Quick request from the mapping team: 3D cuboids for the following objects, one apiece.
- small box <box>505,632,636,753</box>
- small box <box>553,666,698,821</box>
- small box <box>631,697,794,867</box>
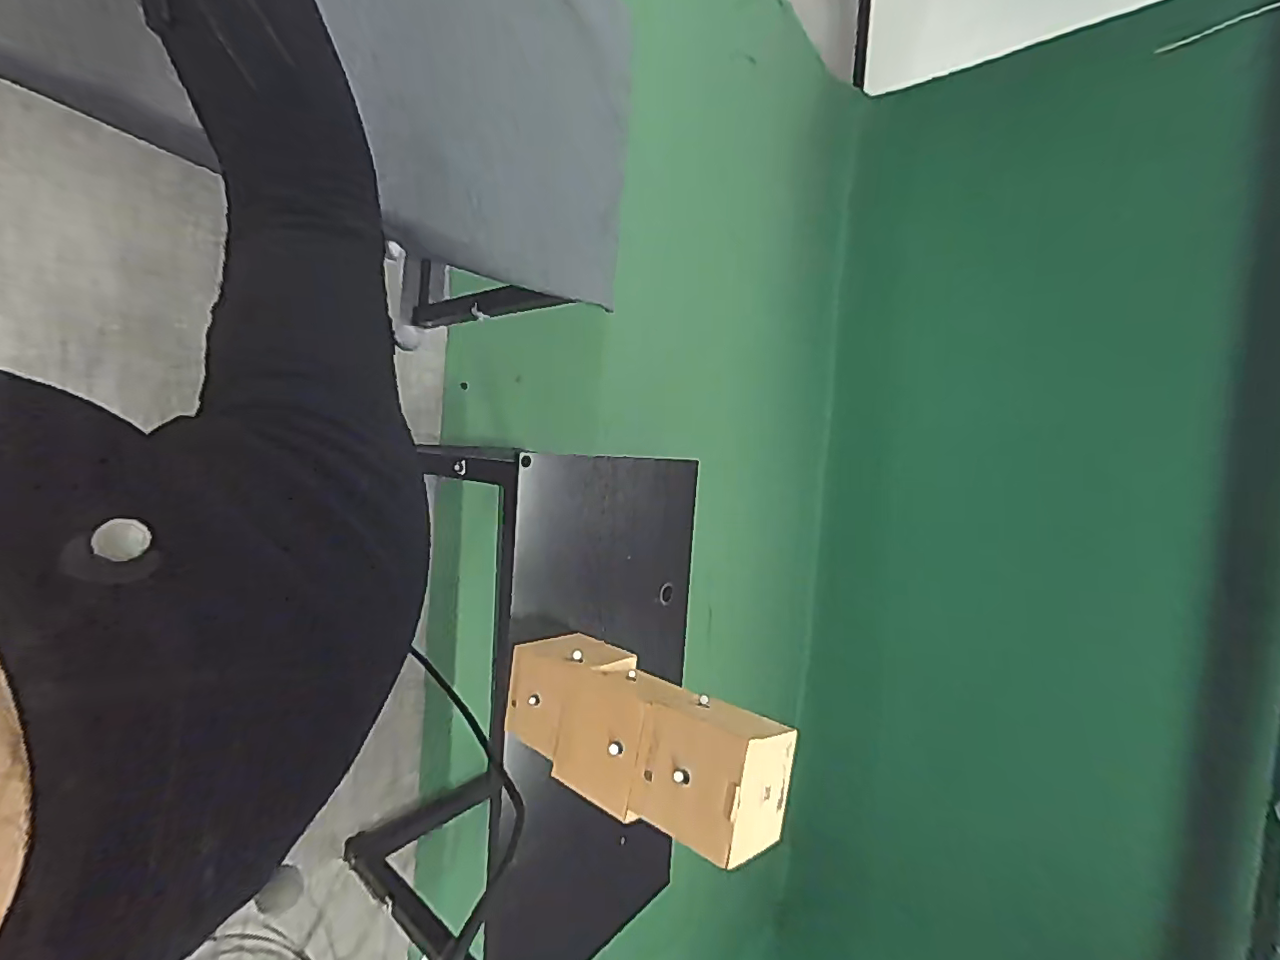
[{"bbox_3d":[-0.135,0.402,1.037,0.179,0.176,0.168,7,91,-51],"label":"small box"},{"bbox_3d":[-0.025,0.431,0.919,0.168,0.176,0.179,20,80,-50],"label":"small box"},{"bbox_3d":[0.110,0.442,0.826,0.179,0.176,0.168,24,77,-48],"label":"small box"}]
